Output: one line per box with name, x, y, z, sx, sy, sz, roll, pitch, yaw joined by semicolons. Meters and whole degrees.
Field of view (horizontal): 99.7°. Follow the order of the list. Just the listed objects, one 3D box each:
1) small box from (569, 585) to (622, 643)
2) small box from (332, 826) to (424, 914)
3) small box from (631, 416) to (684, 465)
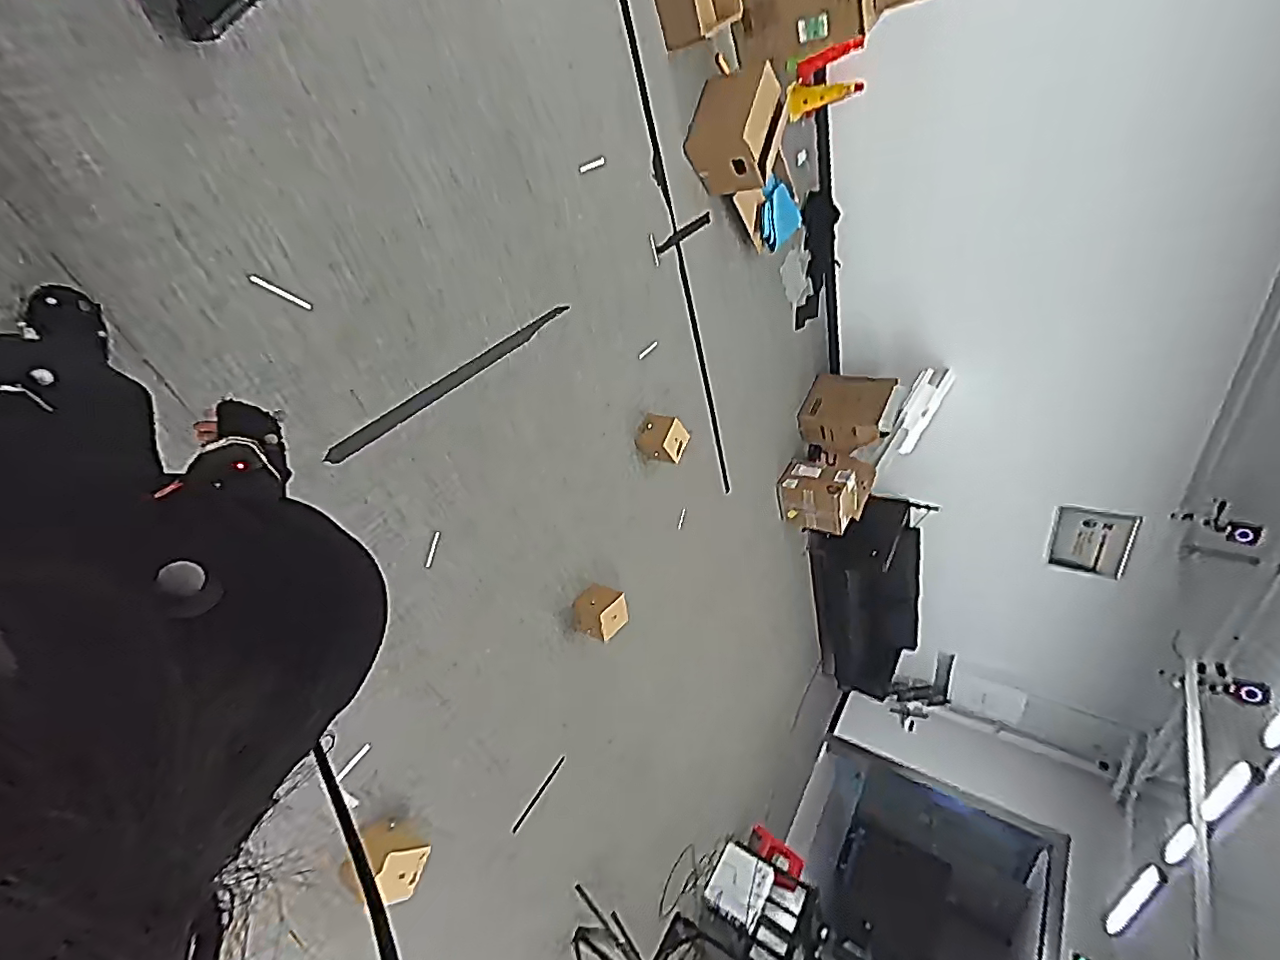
small box;-0.208;0.608;2.473;0.179;0.176;0.168;-36;129;-45
small box;-0.849;1.249;1.746;0.179;0.176;0.168;41;66;-51
small box;0.085;-0.198;2.638;0.179;0.176;0.168;48;61;-48
